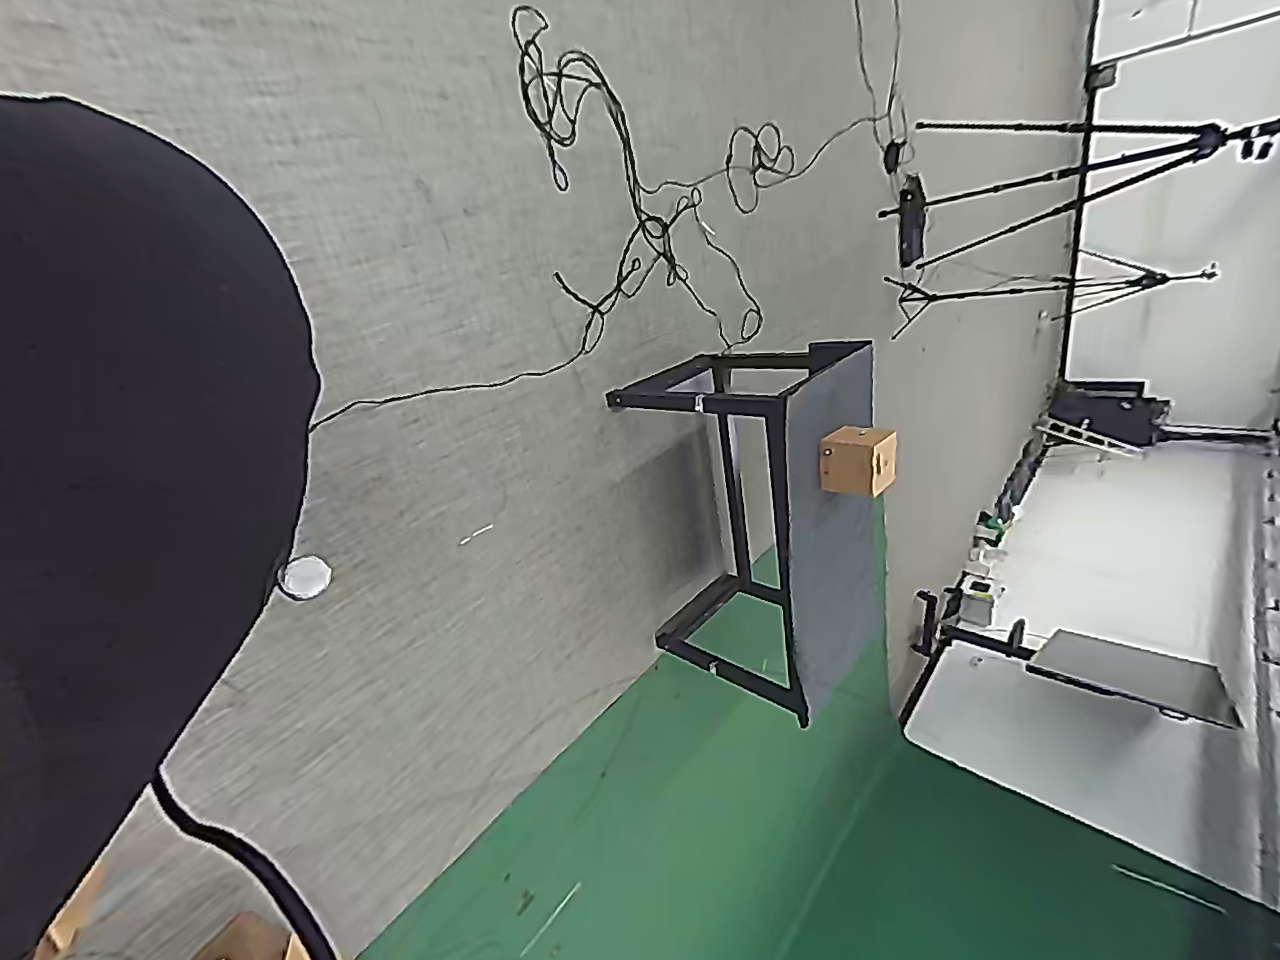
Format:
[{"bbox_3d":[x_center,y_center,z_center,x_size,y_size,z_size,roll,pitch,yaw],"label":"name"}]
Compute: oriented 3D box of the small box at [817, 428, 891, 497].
[{"bbox_3d":[0.666,-0.060,1.689,0.179,0.176,0.168,-26,117,-41],"label":"small box"}]
